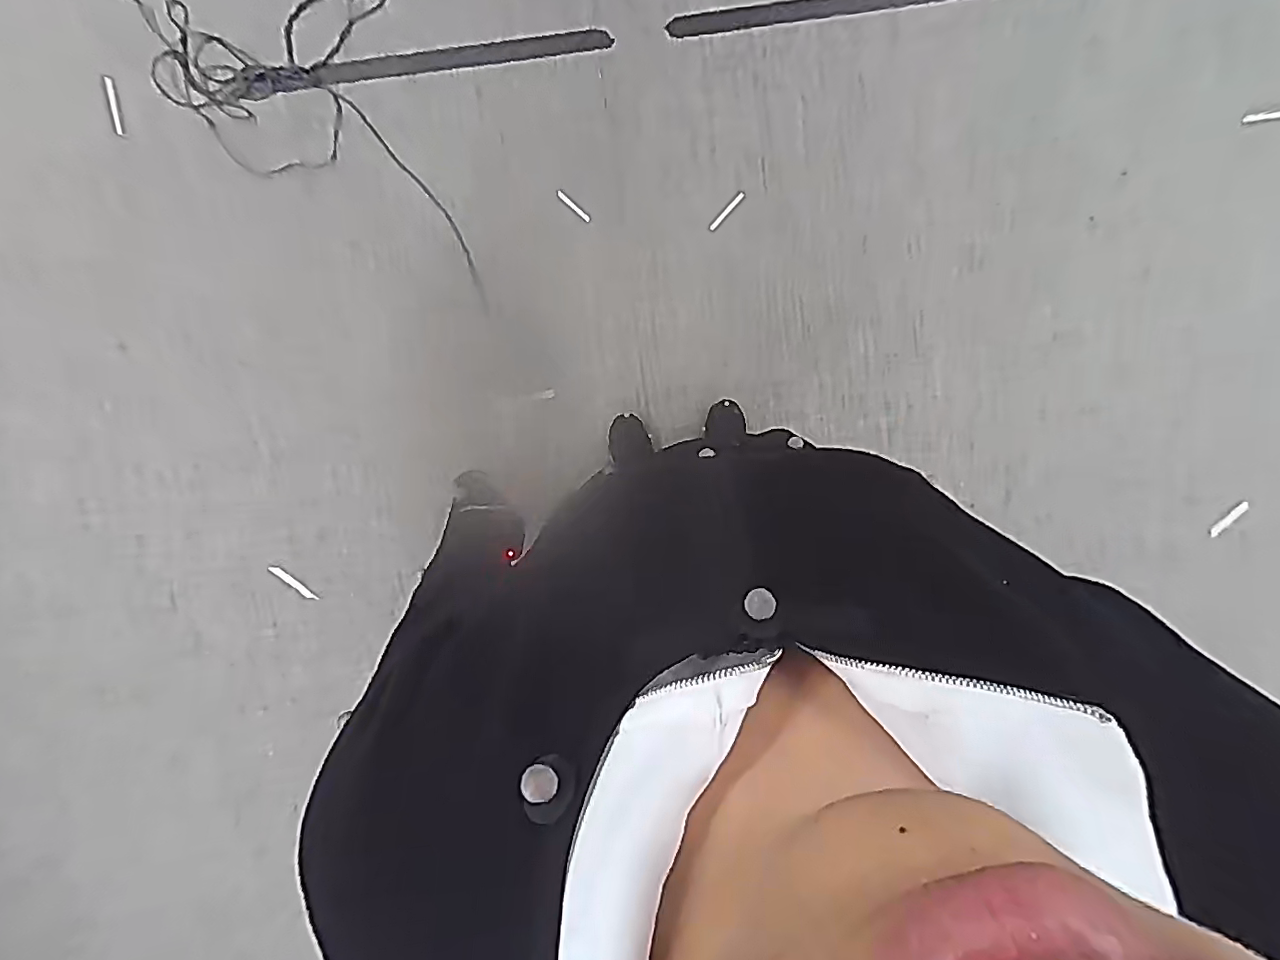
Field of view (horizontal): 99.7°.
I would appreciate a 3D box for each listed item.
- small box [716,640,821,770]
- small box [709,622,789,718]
[{"bbox_3d":[0.256,0.453,1.107,0.168,0.176,0.179,-10,97,3],"label":"small box"},{"bbox_3d":[0.258,0.425,1.269,0.168,0.176,0.179,-9,97,2],"label":"small box"}]
